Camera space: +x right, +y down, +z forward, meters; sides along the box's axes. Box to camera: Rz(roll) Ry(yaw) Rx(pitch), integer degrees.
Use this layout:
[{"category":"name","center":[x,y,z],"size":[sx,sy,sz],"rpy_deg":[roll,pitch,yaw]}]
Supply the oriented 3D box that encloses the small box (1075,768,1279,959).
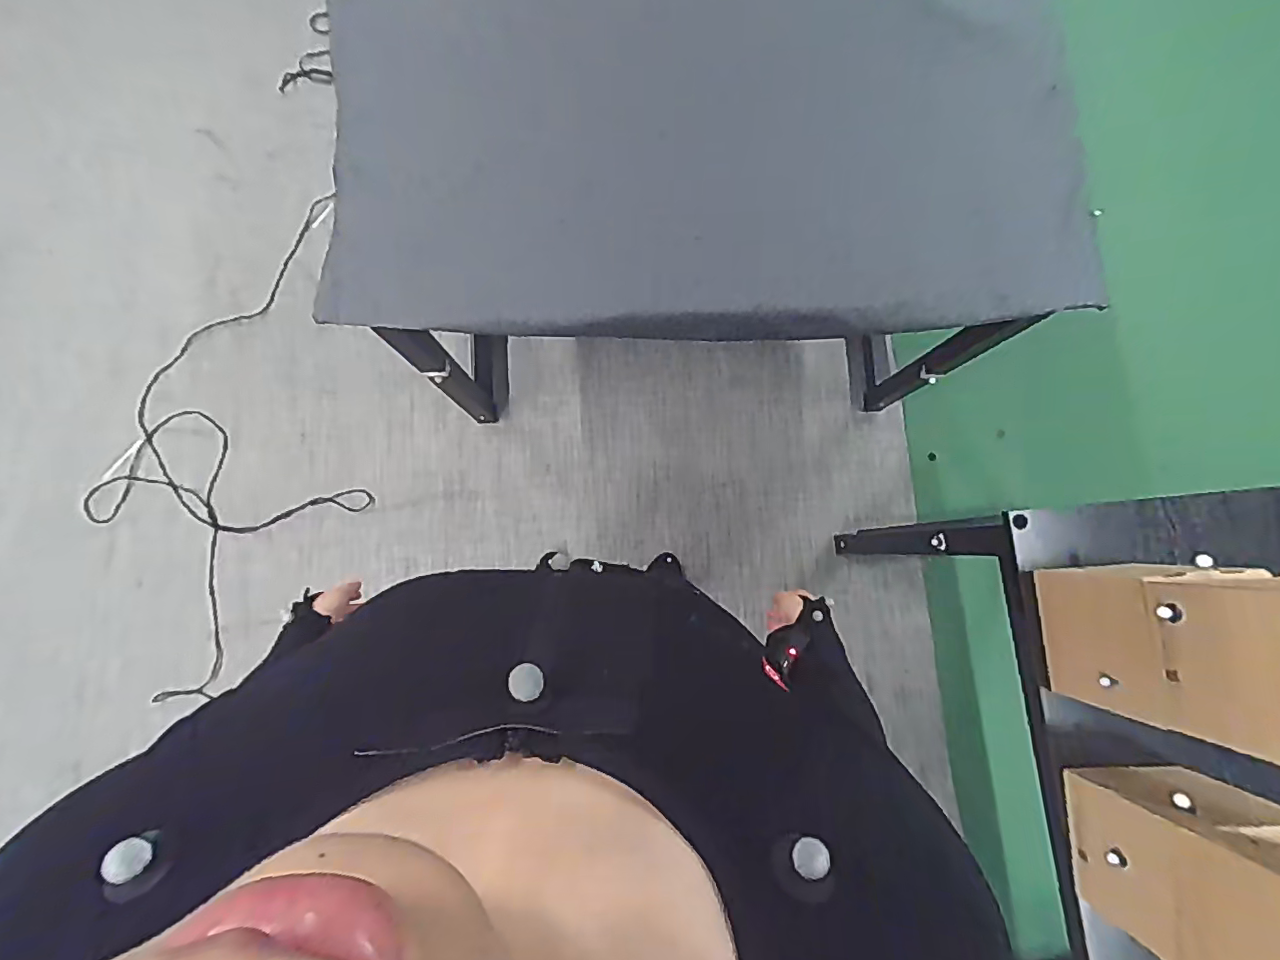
[{"category":"small box","center":[0.684,0.476,0.670],"size":[0.179,0.176,0.168],"rpy_deg":[0,83,-1]}]

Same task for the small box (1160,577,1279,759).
[{"category":"small box","center":[0.678,0.187,0.542],"size":[0.179,0.176,0.168],"rpy_deg":[-1,84,-2]}]

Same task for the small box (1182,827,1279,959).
[{"category":"small box","center":[0.668,0.469,0.507],"size":[0.168,0.176,0.179],"rpy_deg":[8,82,0]}]
